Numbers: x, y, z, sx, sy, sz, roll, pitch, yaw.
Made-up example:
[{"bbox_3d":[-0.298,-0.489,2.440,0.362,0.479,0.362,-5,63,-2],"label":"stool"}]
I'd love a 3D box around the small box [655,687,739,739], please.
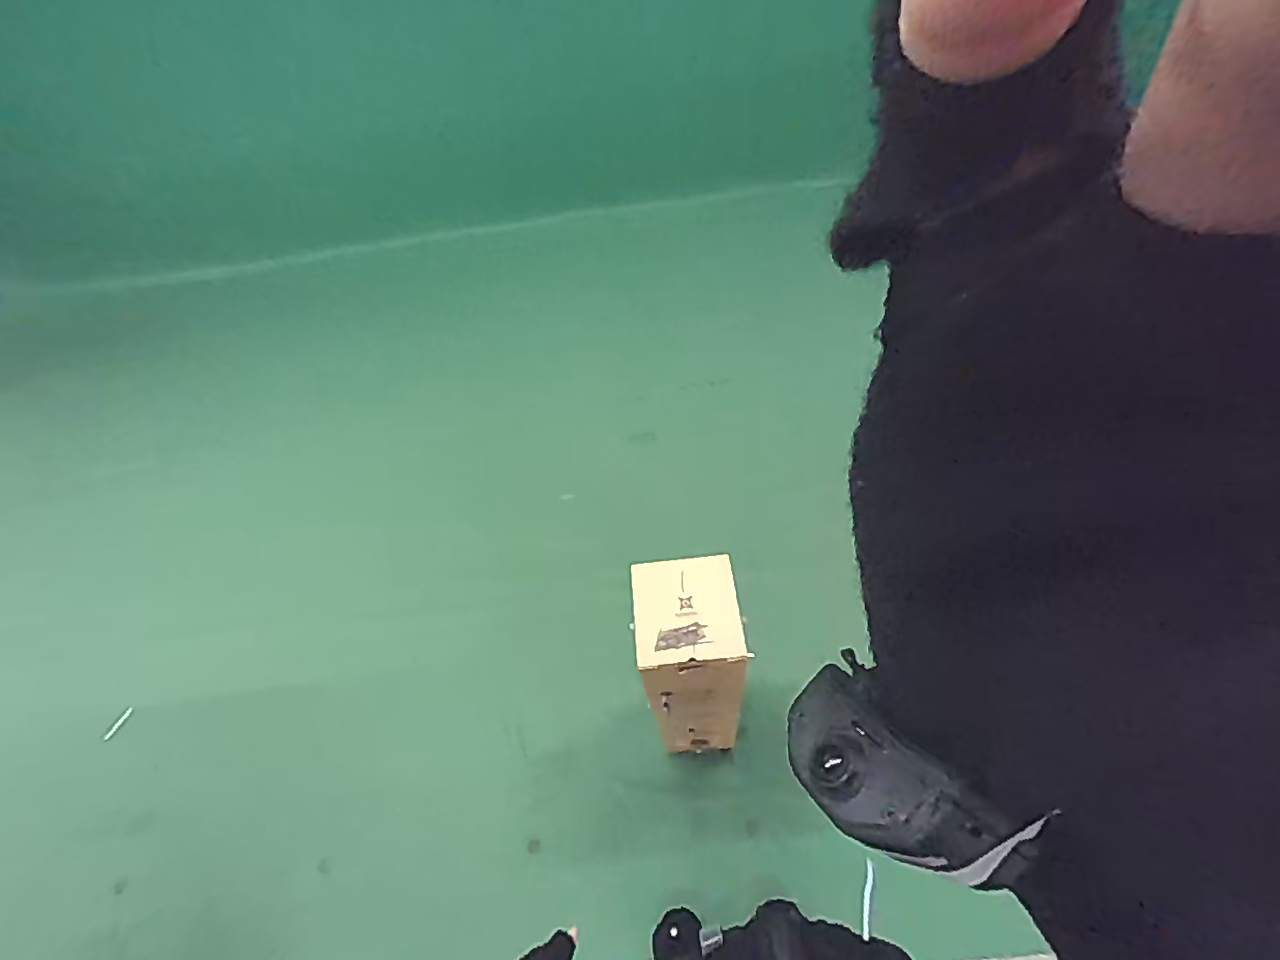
[{"bbox_3d":[0.116,0.446,1.178,0.168,0.176,0.179,-7,53,2],"label":"small box"}]

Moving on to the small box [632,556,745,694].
[{"bbox_3d":[0.080,0.252,0.915,0.168,0.176,0.179,-6,52,2],"label":"small box"}]

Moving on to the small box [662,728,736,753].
[{"bbox_3d":[0.135,0.544,1.307,0.168,0.176,0.179,-6,53,4],"label":"small box"}]
